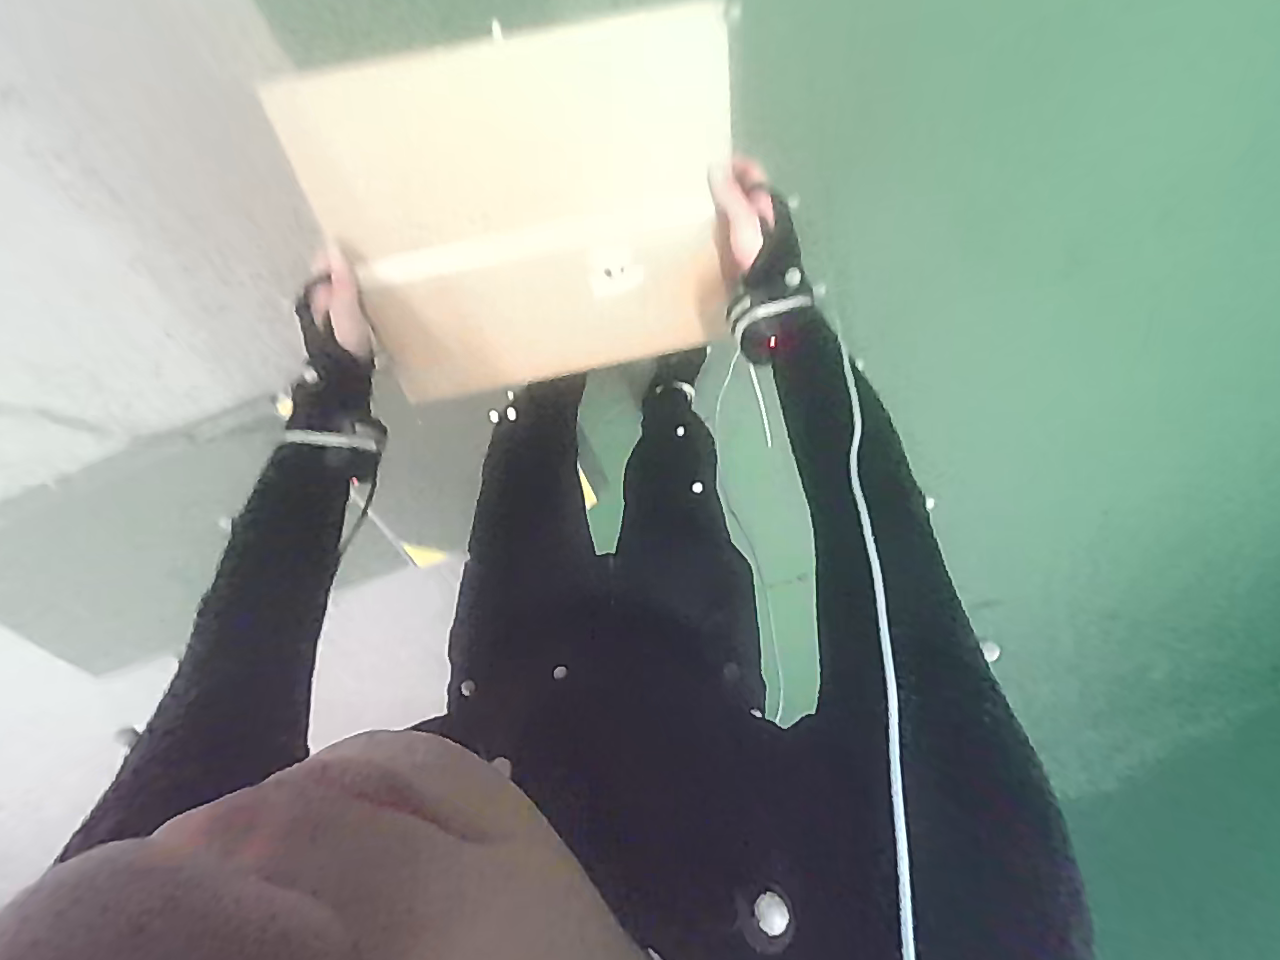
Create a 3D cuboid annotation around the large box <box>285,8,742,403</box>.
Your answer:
[{"bbox_3d":[-0.118,-0.339,0.676,0.408,0.320,0.320,-13,129,-3],"label":"large box"}]
